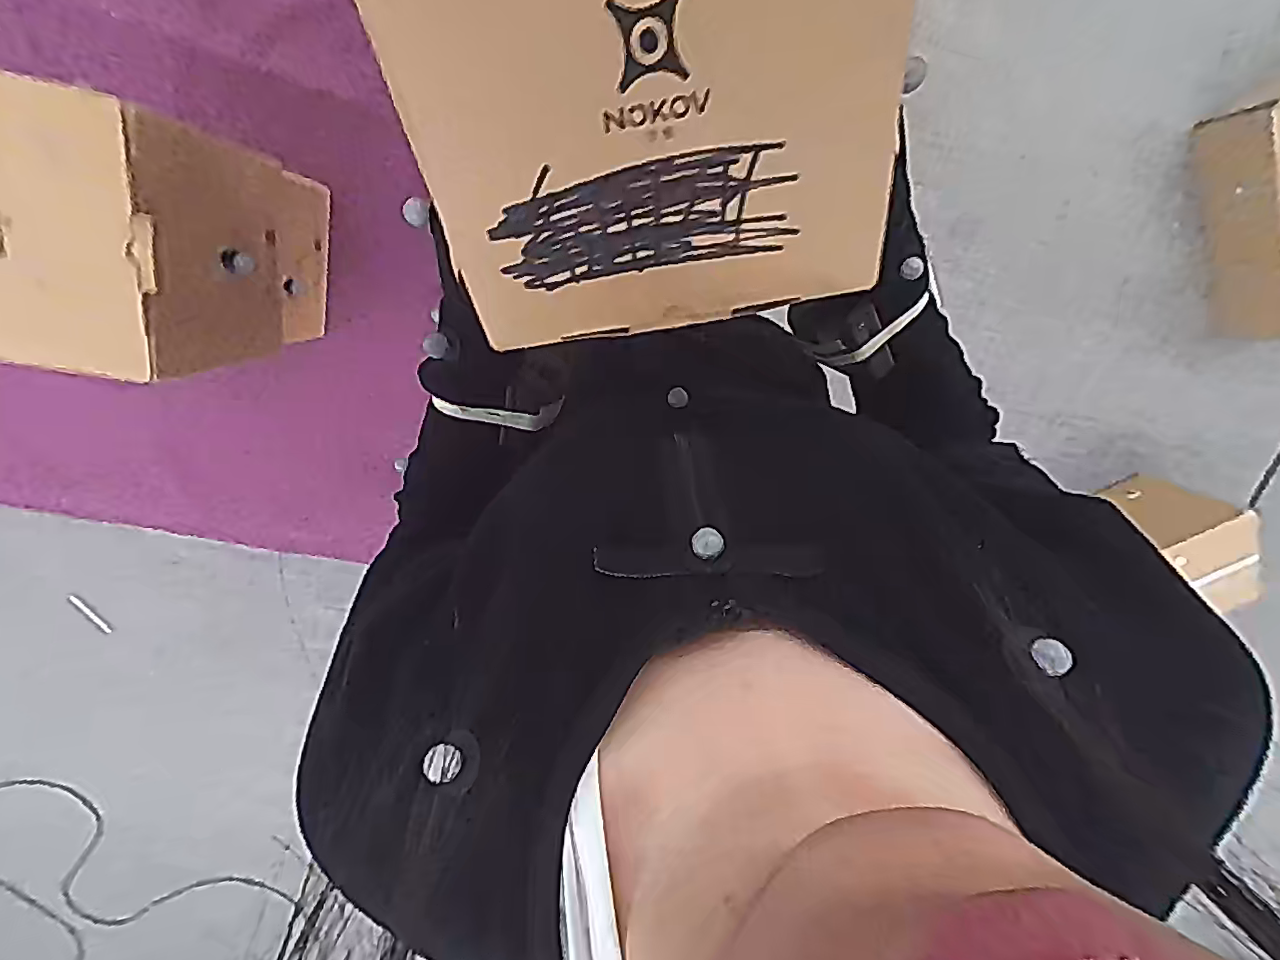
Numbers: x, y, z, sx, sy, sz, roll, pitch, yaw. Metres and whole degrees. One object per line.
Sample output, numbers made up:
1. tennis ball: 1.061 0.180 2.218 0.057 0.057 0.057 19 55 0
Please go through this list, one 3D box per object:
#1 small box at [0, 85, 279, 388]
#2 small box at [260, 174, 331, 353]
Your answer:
1. small box: -0.397 -0.178 0.401 0.179 0.176 0.168 9 109 -10
2. small box: -0.439 -0.238 0.550 0.179 0.176 0.168 10 109 -9
